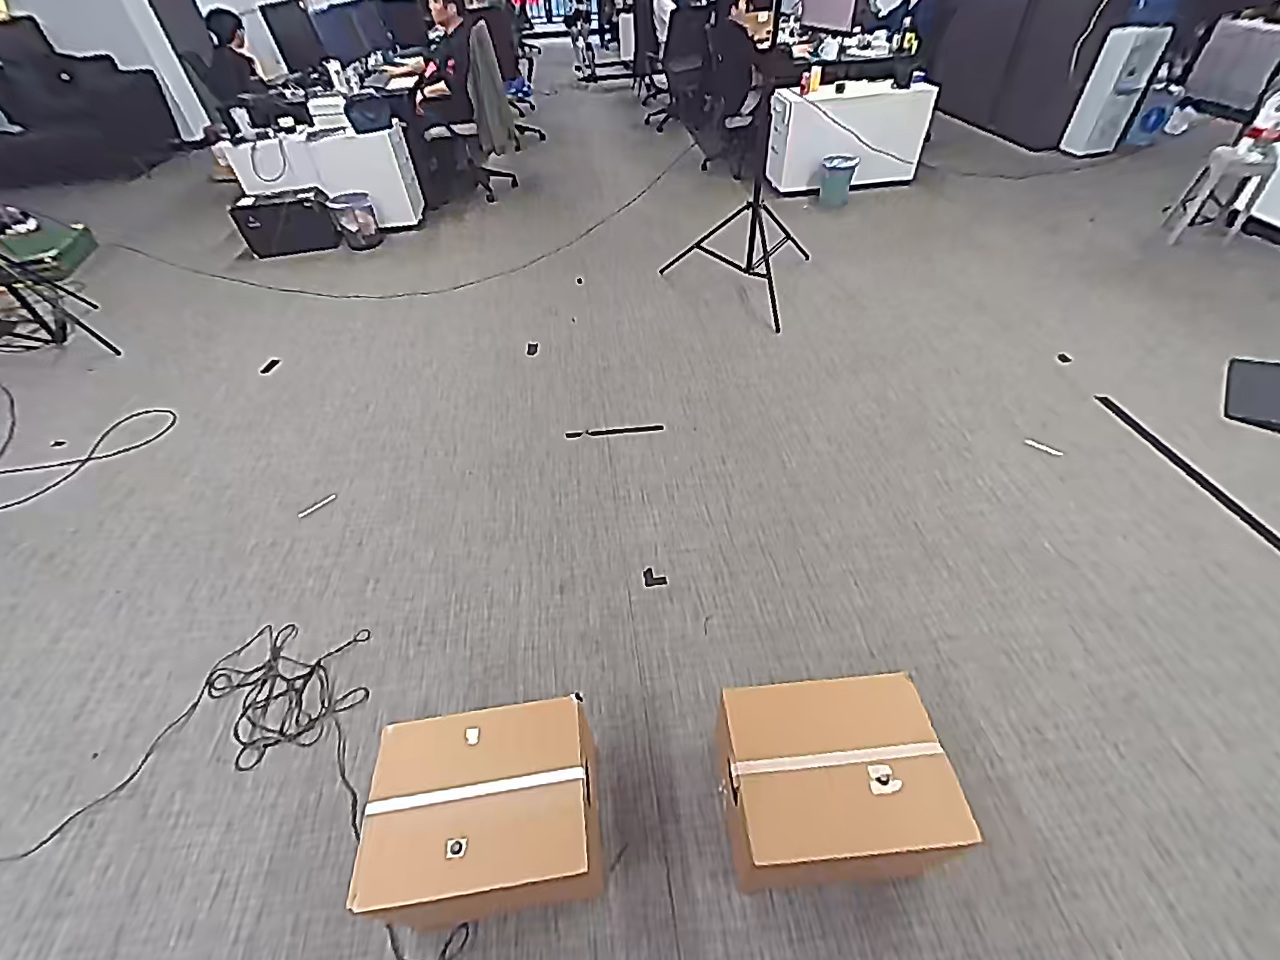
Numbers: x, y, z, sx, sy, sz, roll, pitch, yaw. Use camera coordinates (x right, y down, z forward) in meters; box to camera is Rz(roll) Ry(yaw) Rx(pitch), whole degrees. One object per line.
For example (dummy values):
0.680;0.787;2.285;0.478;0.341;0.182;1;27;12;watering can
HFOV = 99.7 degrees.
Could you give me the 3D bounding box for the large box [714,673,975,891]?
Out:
0.389;0.644;1.155;0.408;0.320;0.320;-4;46;-2;large box
